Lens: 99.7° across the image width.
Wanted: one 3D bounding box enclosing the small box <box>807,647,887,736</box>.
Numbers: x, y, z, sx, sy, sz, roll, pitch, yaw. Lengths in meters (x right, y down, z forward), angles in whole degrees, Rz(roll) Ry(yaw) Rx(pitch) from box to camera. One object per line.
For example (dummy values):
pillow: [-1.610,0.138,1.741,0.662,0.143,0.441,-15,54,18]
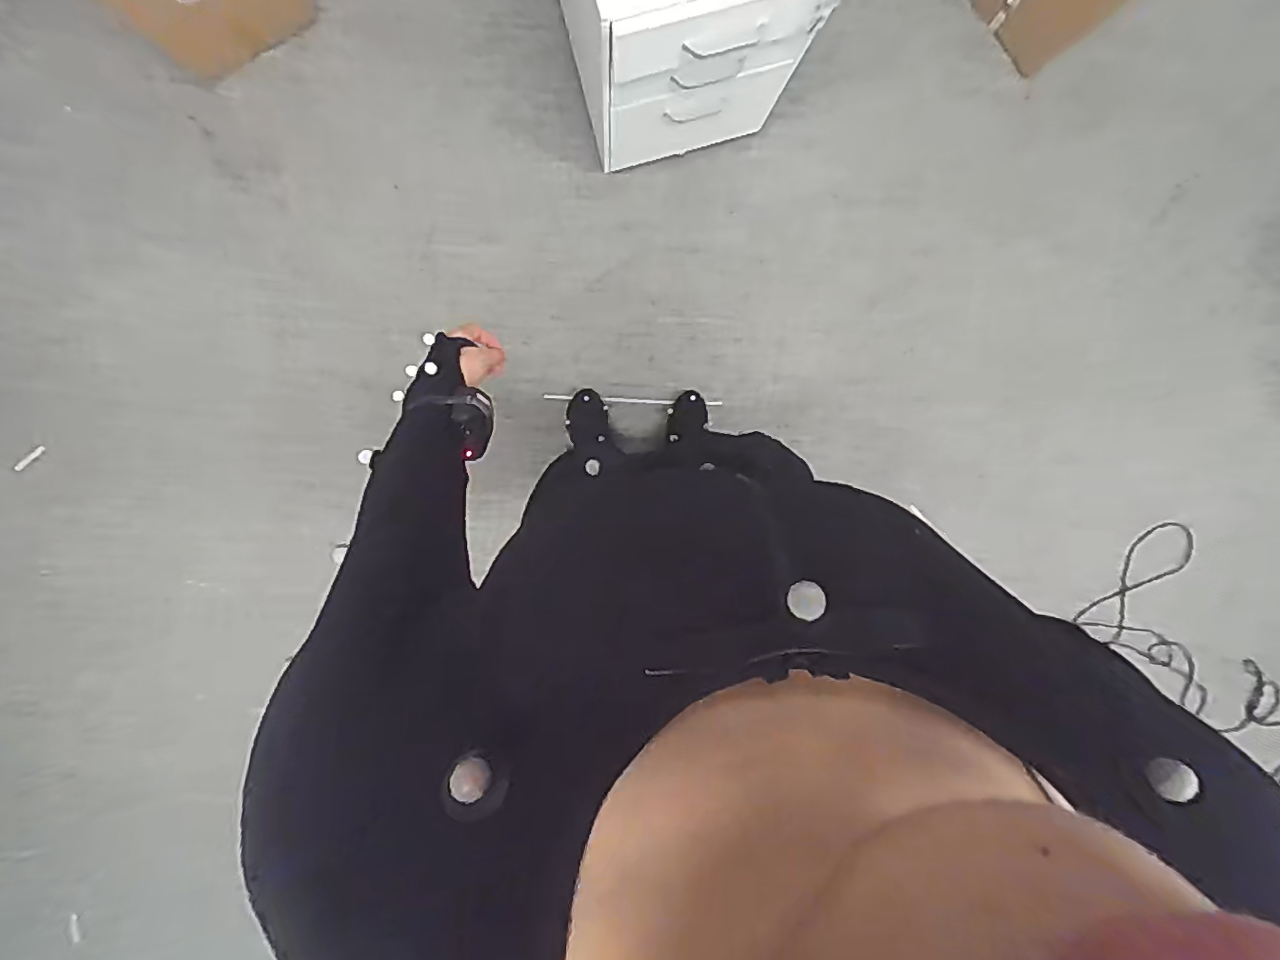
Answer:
small box: [0.578,0.587,1.515,0.179,0.176,0.168,-6,99,-3]
